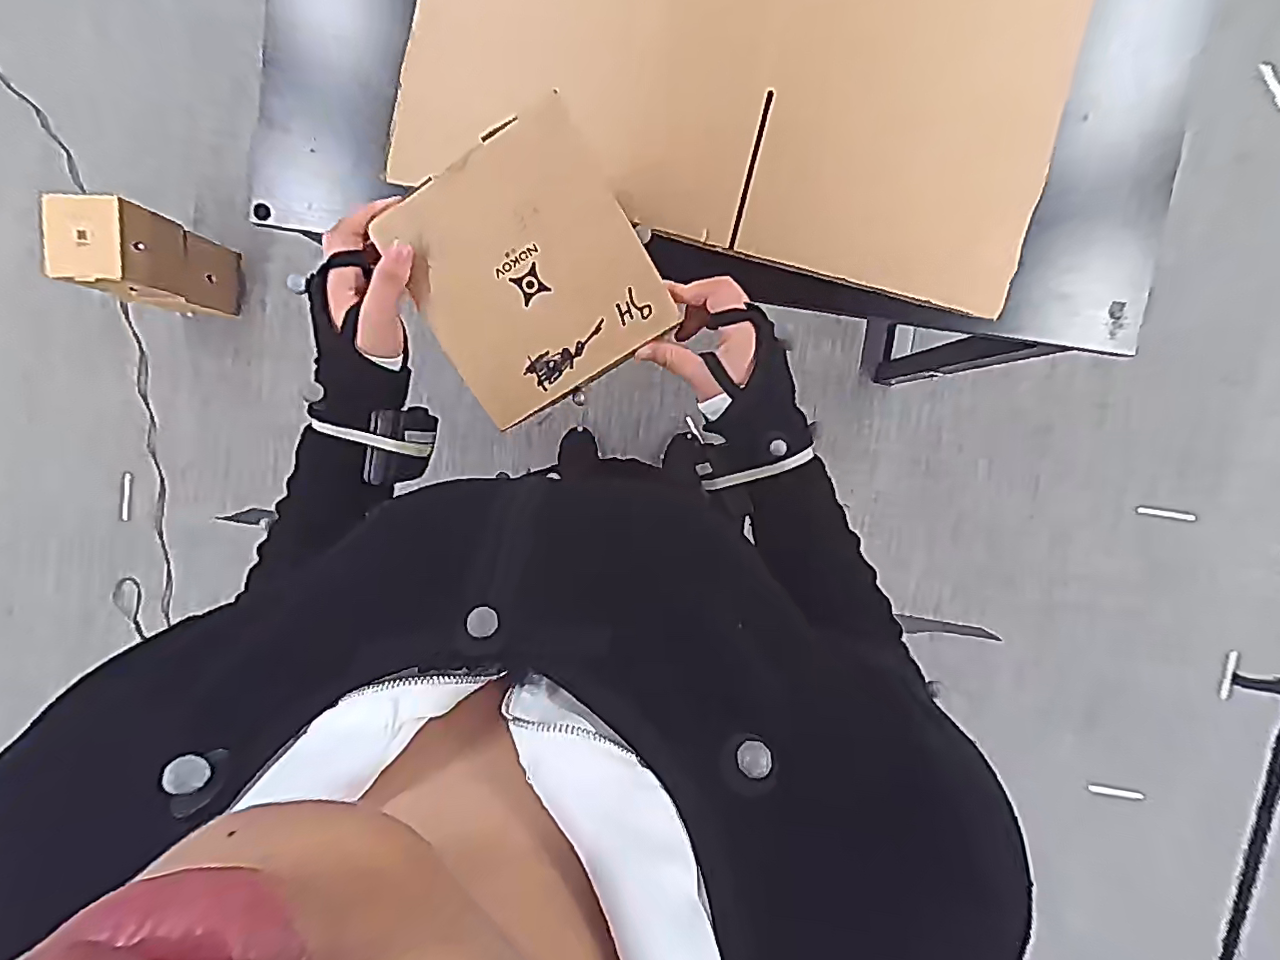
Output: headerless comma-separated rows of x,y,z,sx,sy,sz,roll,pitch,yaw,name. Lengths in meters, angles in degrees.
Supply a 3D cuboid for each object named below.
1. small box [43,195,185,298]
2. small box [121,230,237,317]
-1.183,-0.522,1.229,0.168,0.176,0.179,1,94,0,small box
-1.178,-0.530,1.391,0.168,0.176,0.179,5,96,1,small box
